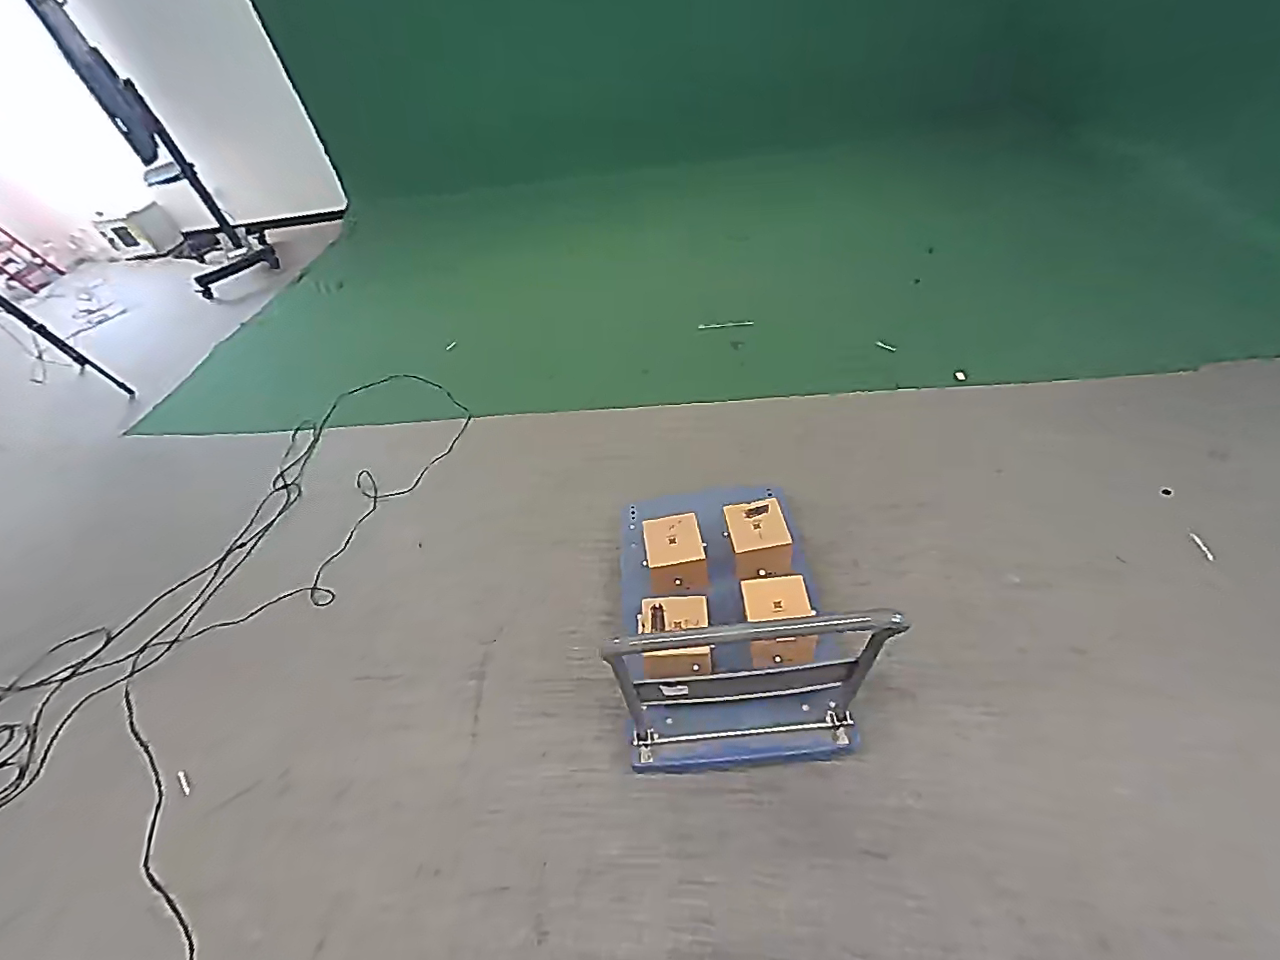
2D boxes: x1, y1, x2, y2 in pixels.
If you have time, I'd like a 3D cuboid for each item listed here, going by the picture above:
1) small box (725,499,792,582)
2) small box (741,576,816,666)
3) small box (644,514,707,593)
[{"bbox_3d":[0.358,0.188,1.664,0.168,0.176,0.179,-11,47,2],"label":"small box"},{"bbox_3d":[0.372,0.386,1.480,0.168,0.176,0.179,-7,47,4],"label":"small box"},{"bbox_3d":[0.110,0.234,1.670,0.168,0.176,0.179,-10,47,1],"label":"small box"}]
